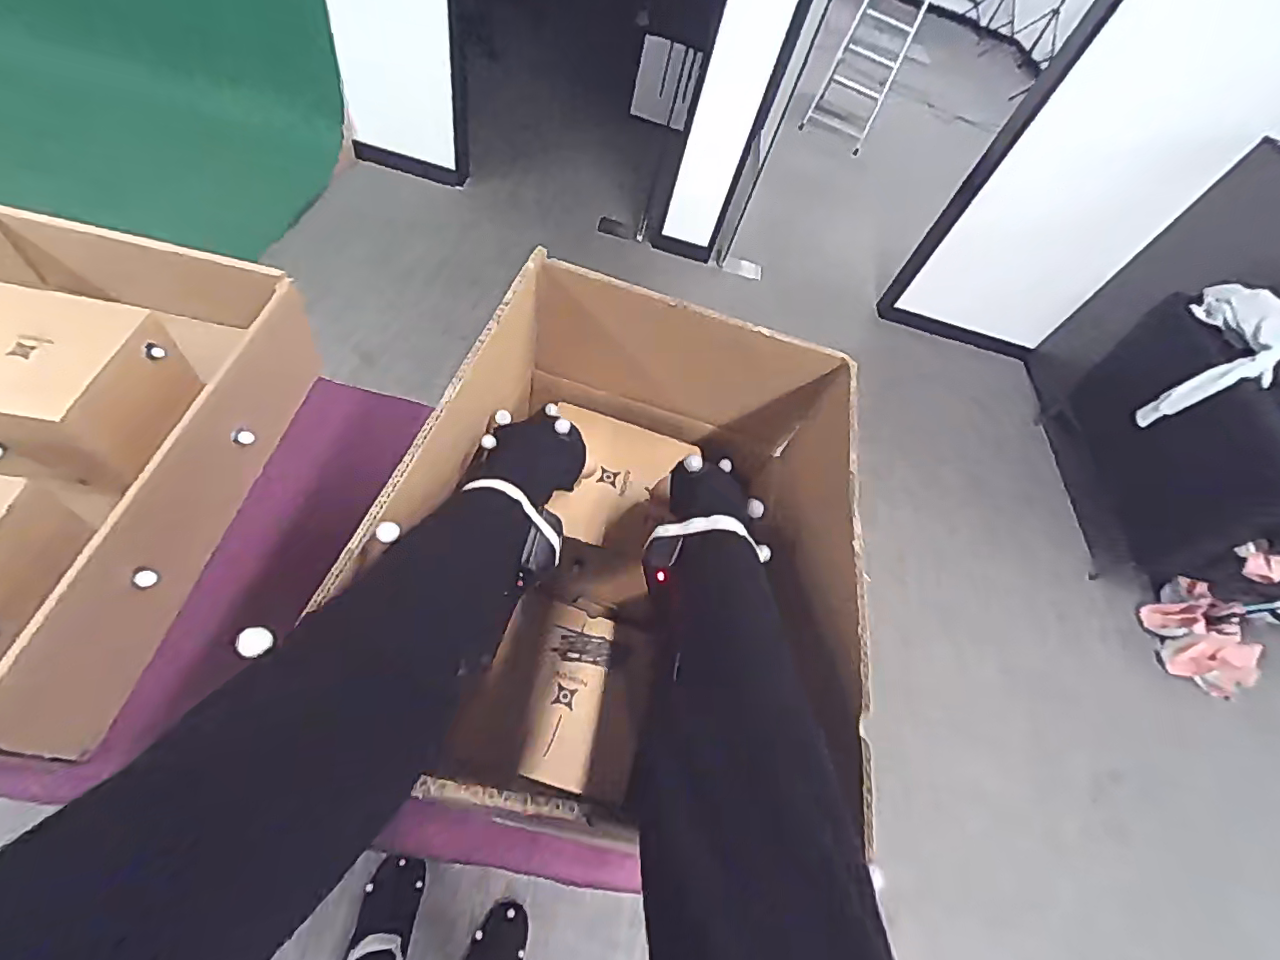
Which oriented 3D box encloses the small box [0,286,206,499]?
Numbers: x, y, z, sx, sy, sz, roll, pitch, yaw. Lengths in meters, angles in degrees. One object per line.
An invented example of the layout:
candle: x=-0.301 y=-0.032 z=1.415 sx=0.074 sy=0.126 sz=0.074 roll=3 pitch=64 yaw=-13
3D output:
small box: x=-0.678 y=-0.097 z=0.652 sx=0.168 sy=0.176 sz=0.179 roll=9 pitch=55 yaw=-8
